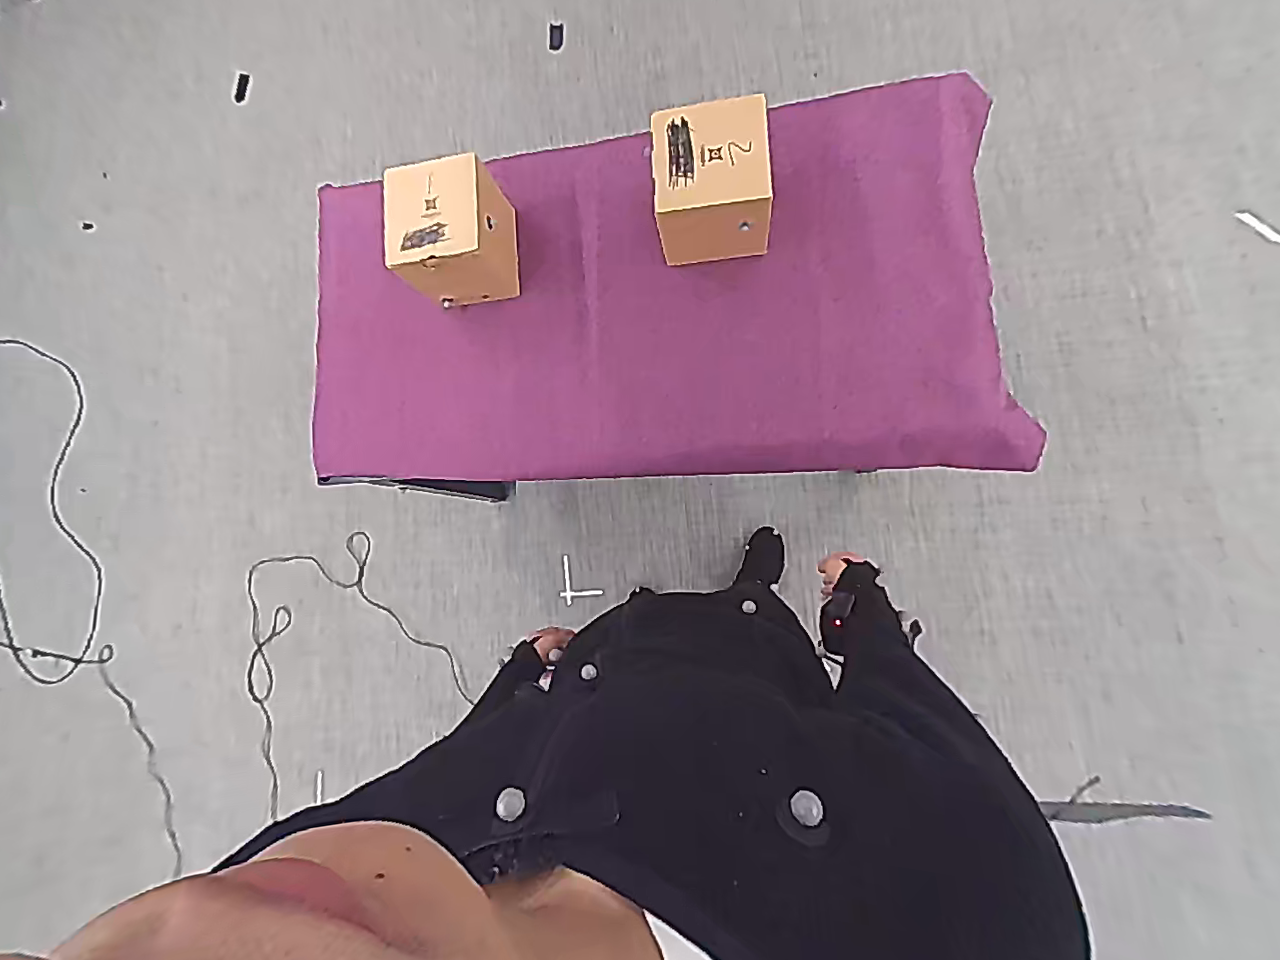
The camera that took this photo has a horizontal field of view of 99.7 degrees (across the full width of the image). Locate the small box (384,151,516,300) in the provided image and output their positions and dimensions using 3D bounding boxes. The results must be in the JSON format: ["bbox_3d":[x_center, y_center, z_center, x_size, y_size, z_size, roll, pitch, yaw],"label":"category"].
[{"bbox_3d":[-0.328,-0.435,0.959,0.168,0.176,0.179,-5,83,9],"label":"small box"}]
